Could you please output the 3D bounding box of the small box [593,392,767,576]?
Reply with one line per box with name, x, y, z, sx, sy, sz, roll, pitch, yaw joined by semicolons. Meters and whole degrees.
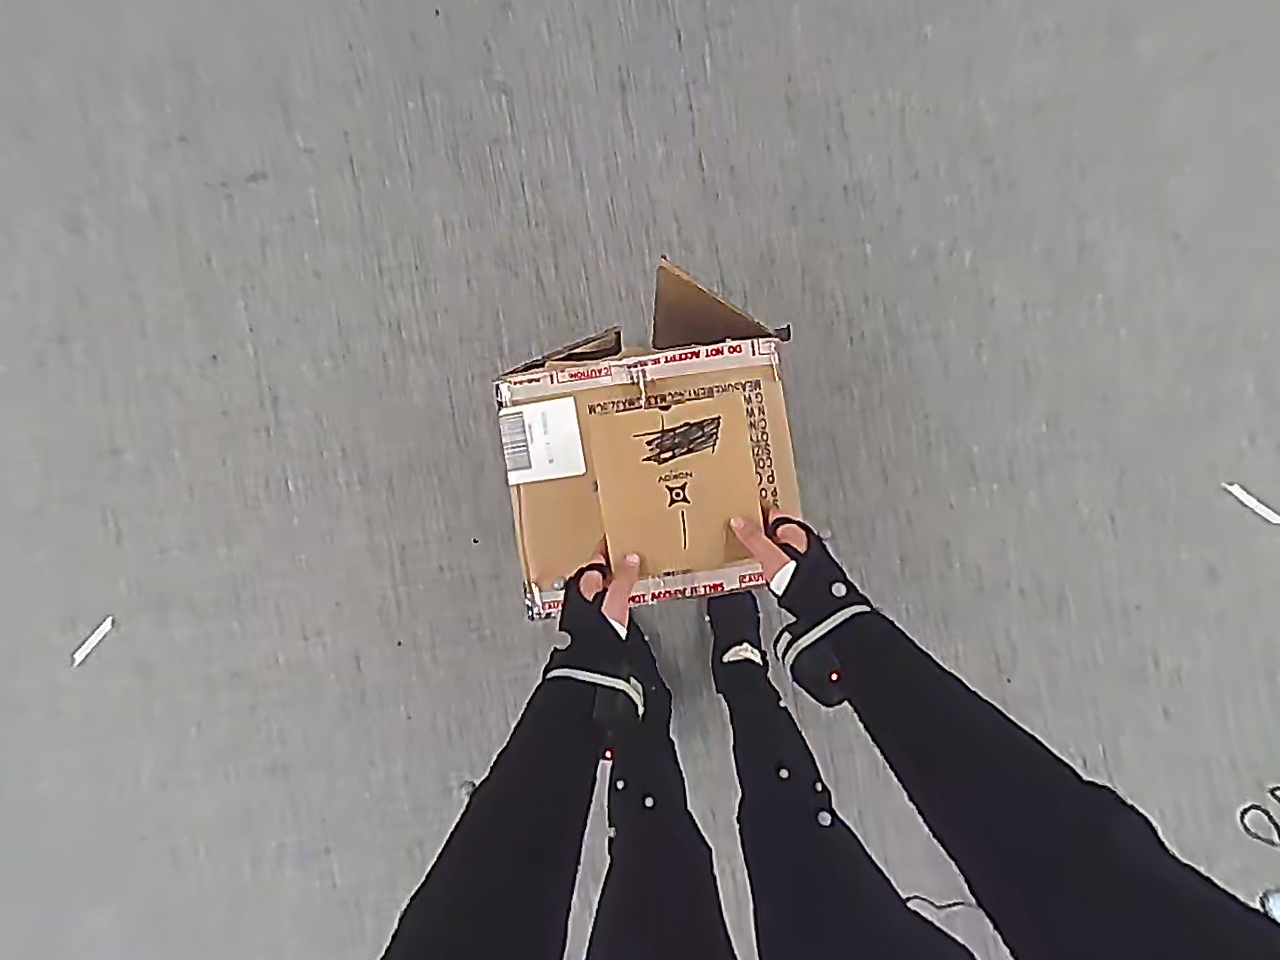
small box;0.040;0.003;0.646;0.168;0.176;0.179;-9;92;0
